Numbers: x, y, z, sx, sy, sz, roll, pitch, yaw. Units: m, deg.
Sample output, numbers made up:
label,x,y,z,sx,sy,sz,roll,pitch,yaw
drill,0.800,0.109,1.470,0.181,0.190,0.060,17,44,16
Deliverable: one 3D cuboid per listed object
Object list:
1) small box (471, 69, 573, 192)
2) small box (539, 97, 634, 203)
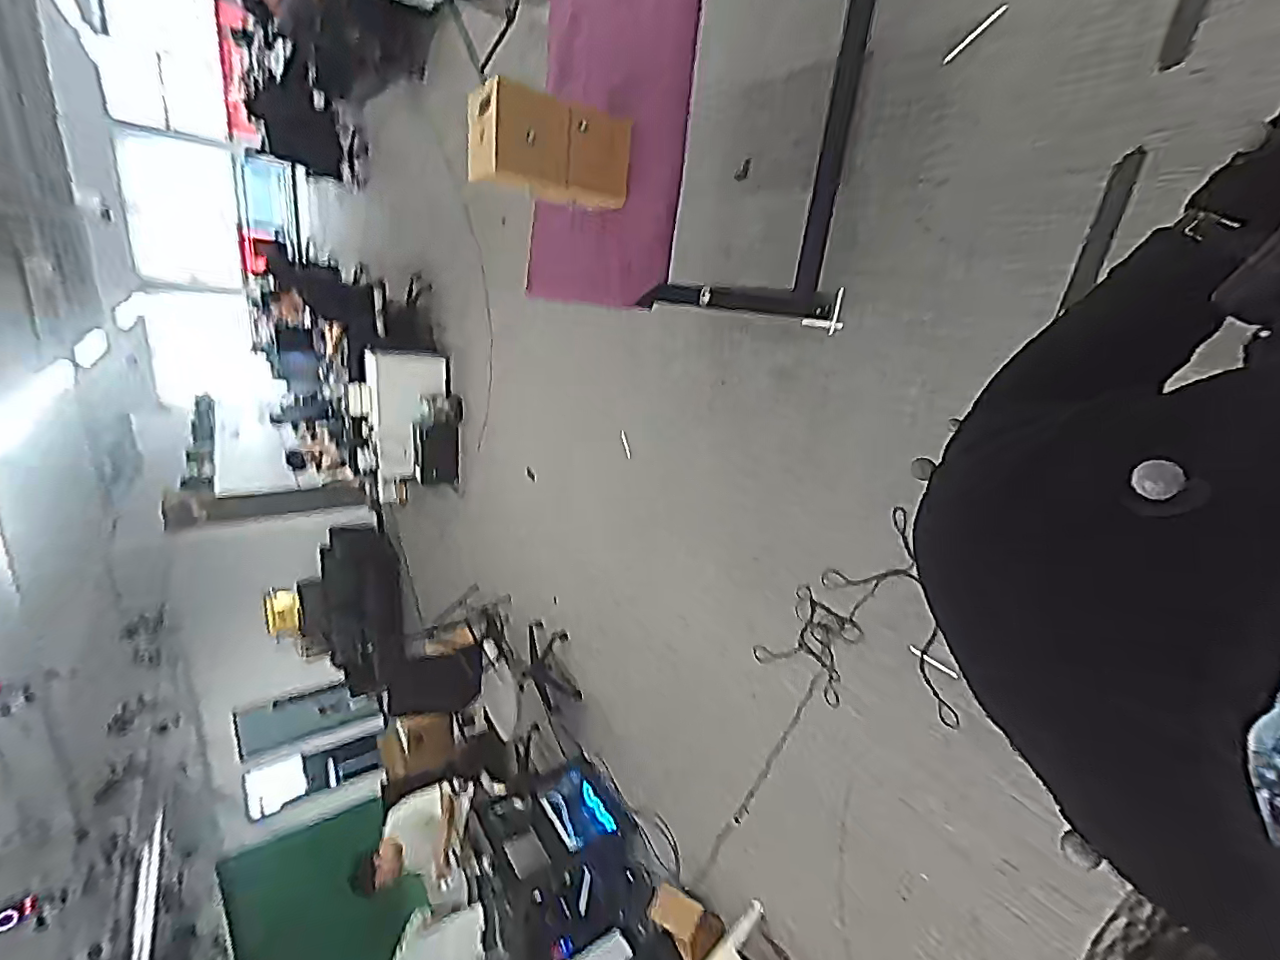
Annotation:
label,x,y,z,sx,sy,sz,roll,pitch,yaw
small box,-0.260,-0.755,1.188,0.168,0.176,0.179,27,117,50
small box,-0.130,-0.771,1.288,0.168,0.176,0.179,26,116,49
